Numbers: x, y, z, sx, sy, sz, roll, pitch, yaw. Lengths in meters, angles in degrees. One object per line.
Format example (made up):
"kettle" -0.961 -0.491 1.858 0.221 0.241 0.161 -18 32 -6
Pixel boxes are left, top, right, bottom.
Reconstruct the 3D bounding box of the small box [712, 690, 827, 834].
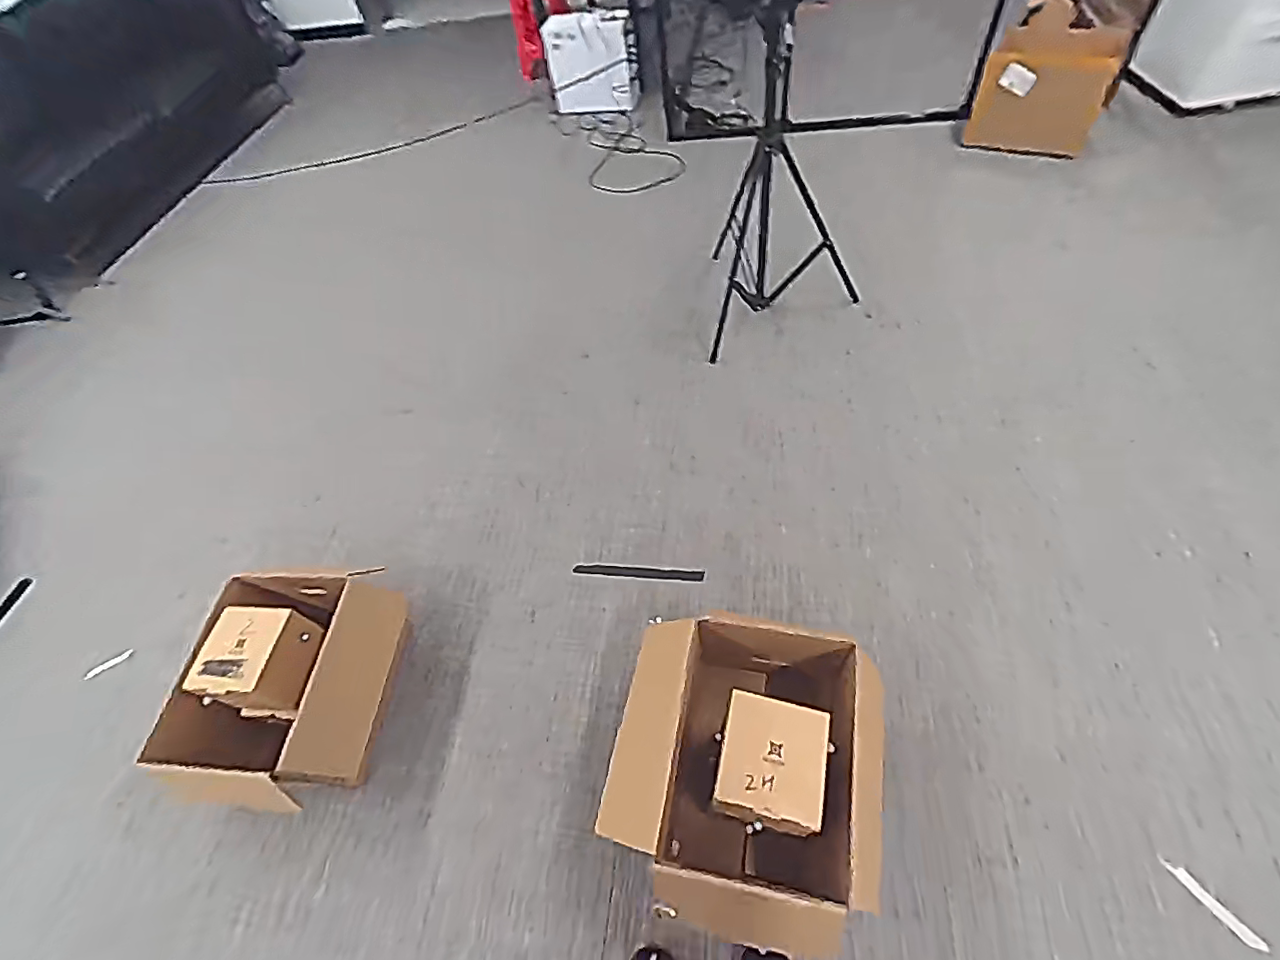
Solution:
"small box" 0.222 0.499 0.953 0.168 0.176 0.179 11 57 13
